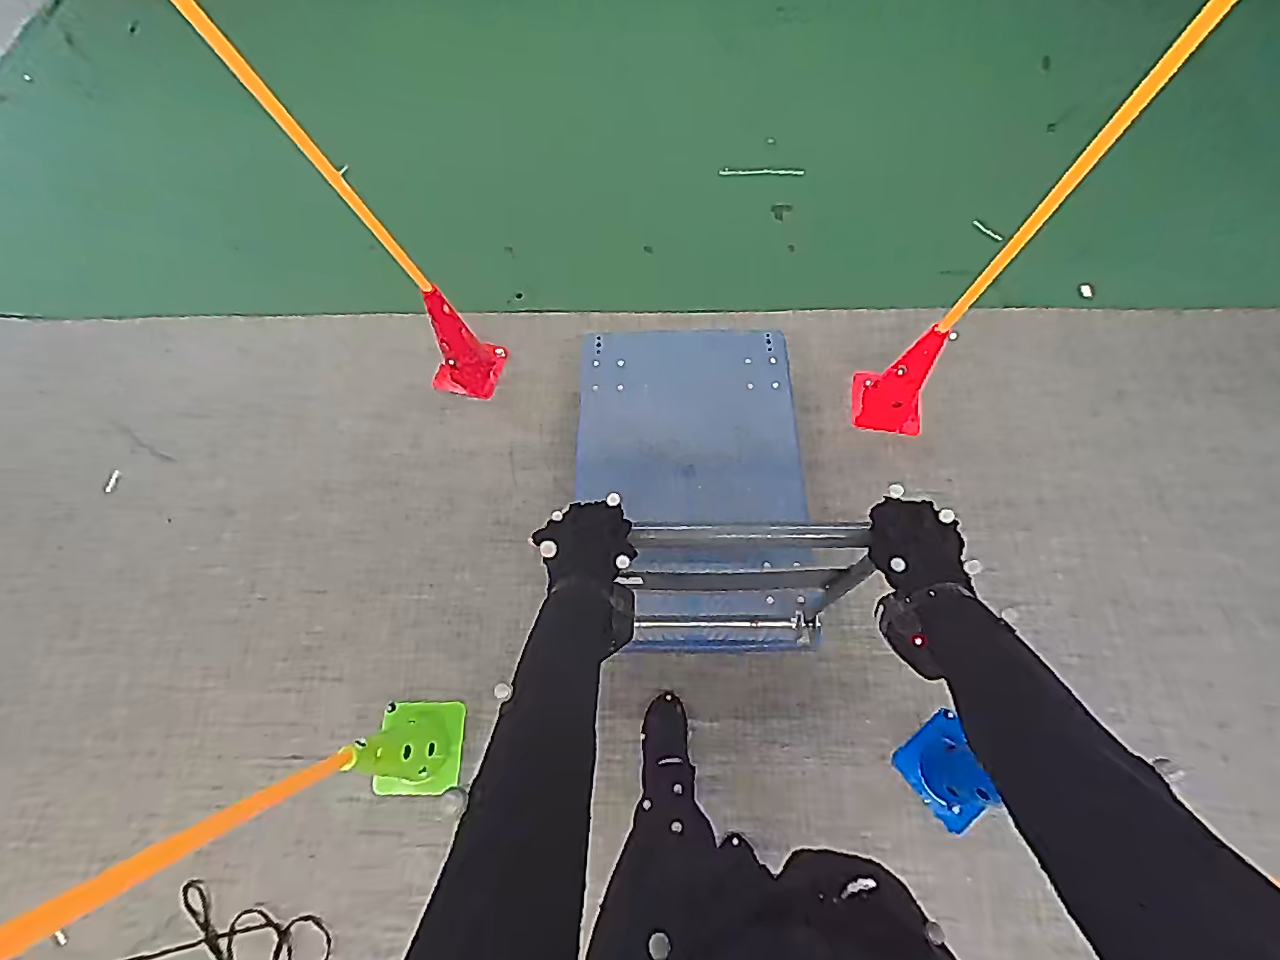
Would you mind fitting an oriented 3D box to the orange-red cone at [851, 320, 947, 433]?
[{"bbox_3d":[0.738,-0.305,1.476,0.198,0.360,0.199,10,68,6],"label":"orange-red cone"}]
